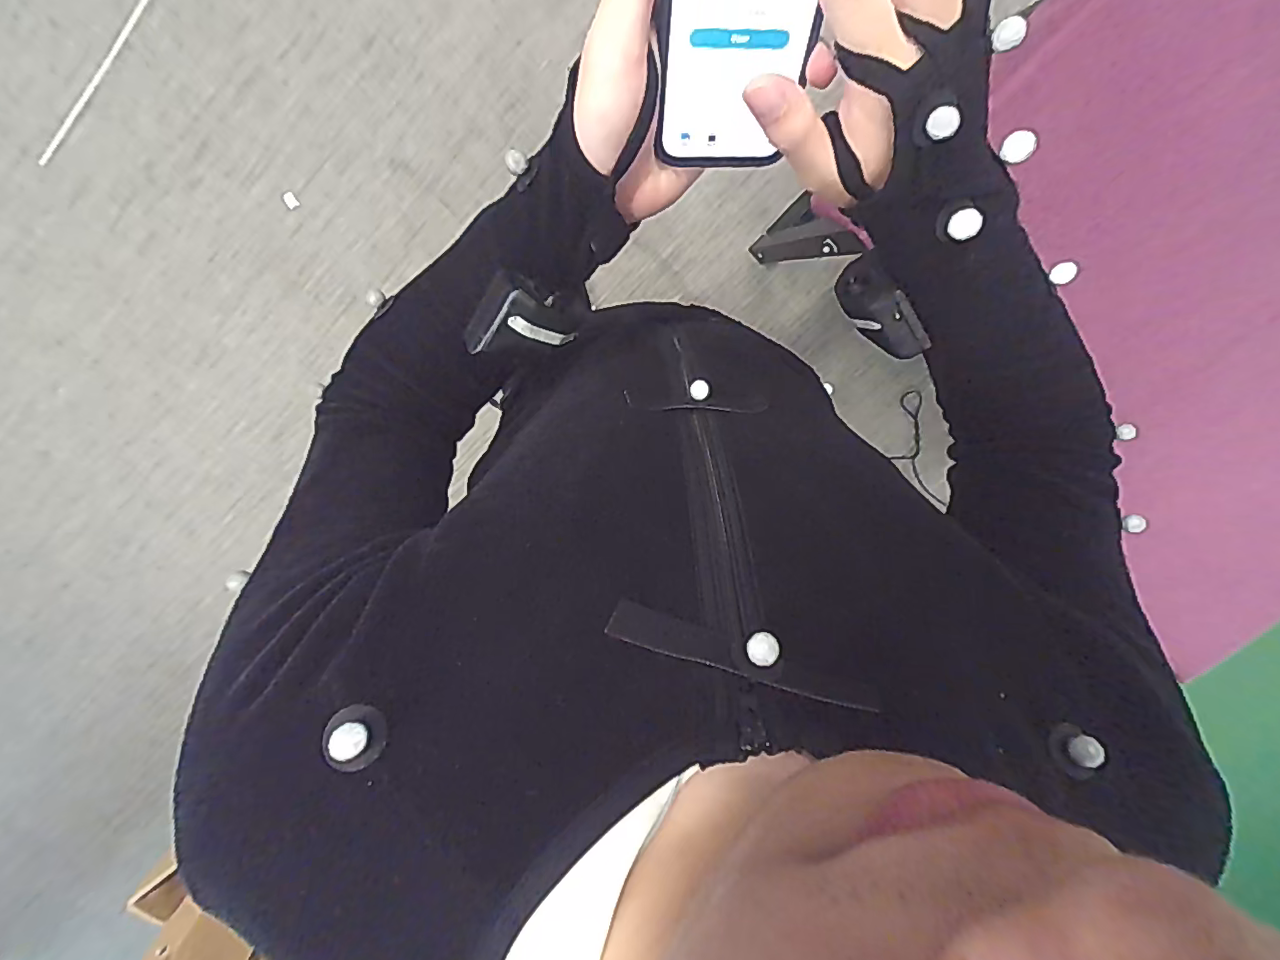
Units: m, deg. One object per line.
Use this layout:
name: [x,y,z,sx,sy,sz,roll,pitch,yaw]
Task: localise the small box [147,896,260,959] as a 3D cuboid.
small box: [-1.050,1.140,1.279,0.179,0.176,0.168,-36,108,9]
